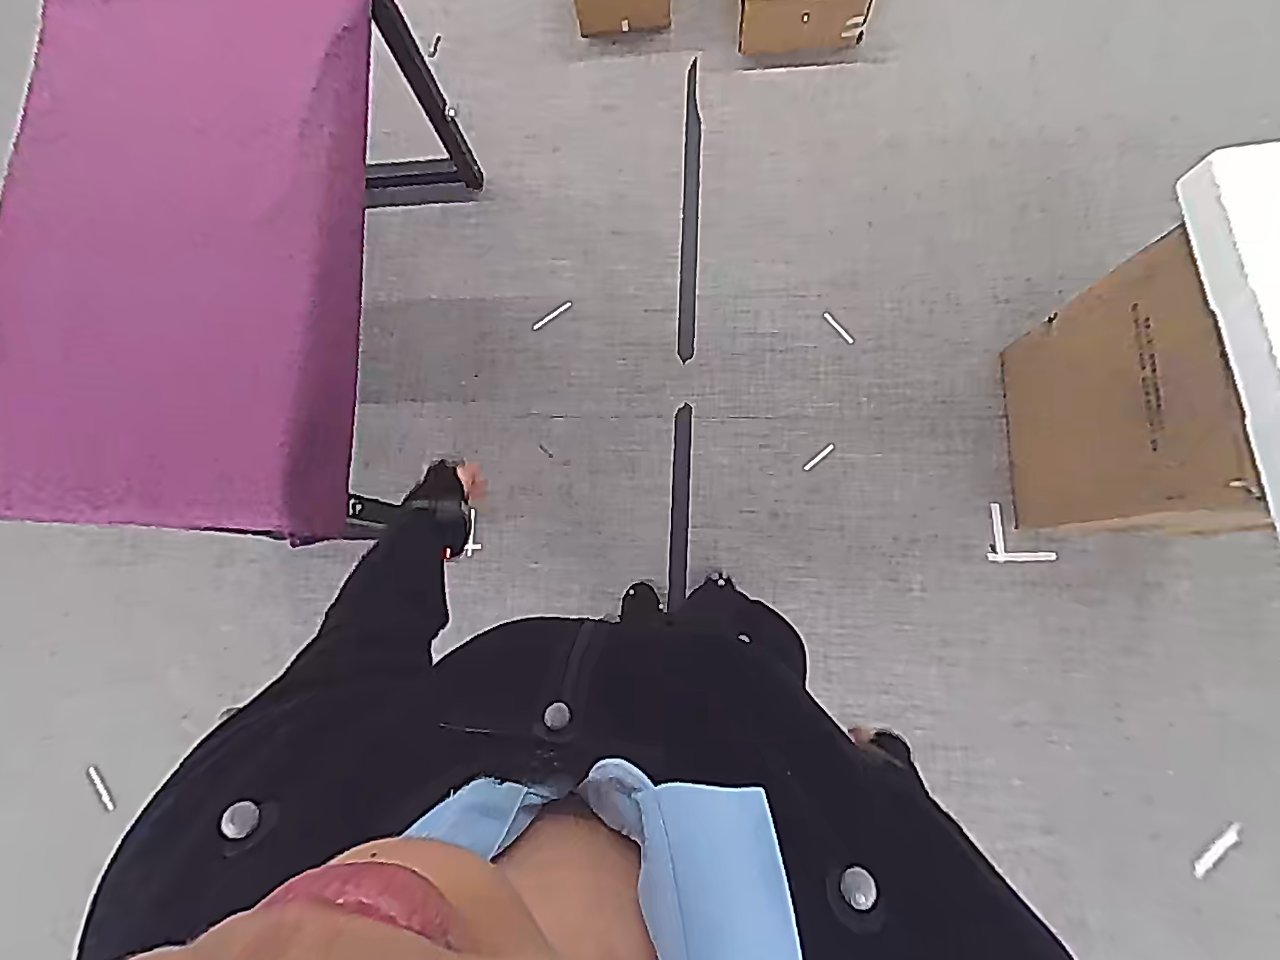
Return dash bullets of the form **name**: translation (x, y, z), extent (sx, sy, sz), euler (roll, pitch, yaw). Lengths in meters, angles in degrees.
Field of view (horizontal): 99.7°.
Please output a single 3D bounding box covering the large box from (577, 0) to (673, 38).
- **large box**: translation (-0.062, -1.721, 1.702), extent (0.320, 0.320, 0.408), euler (-4, 81, 4)
